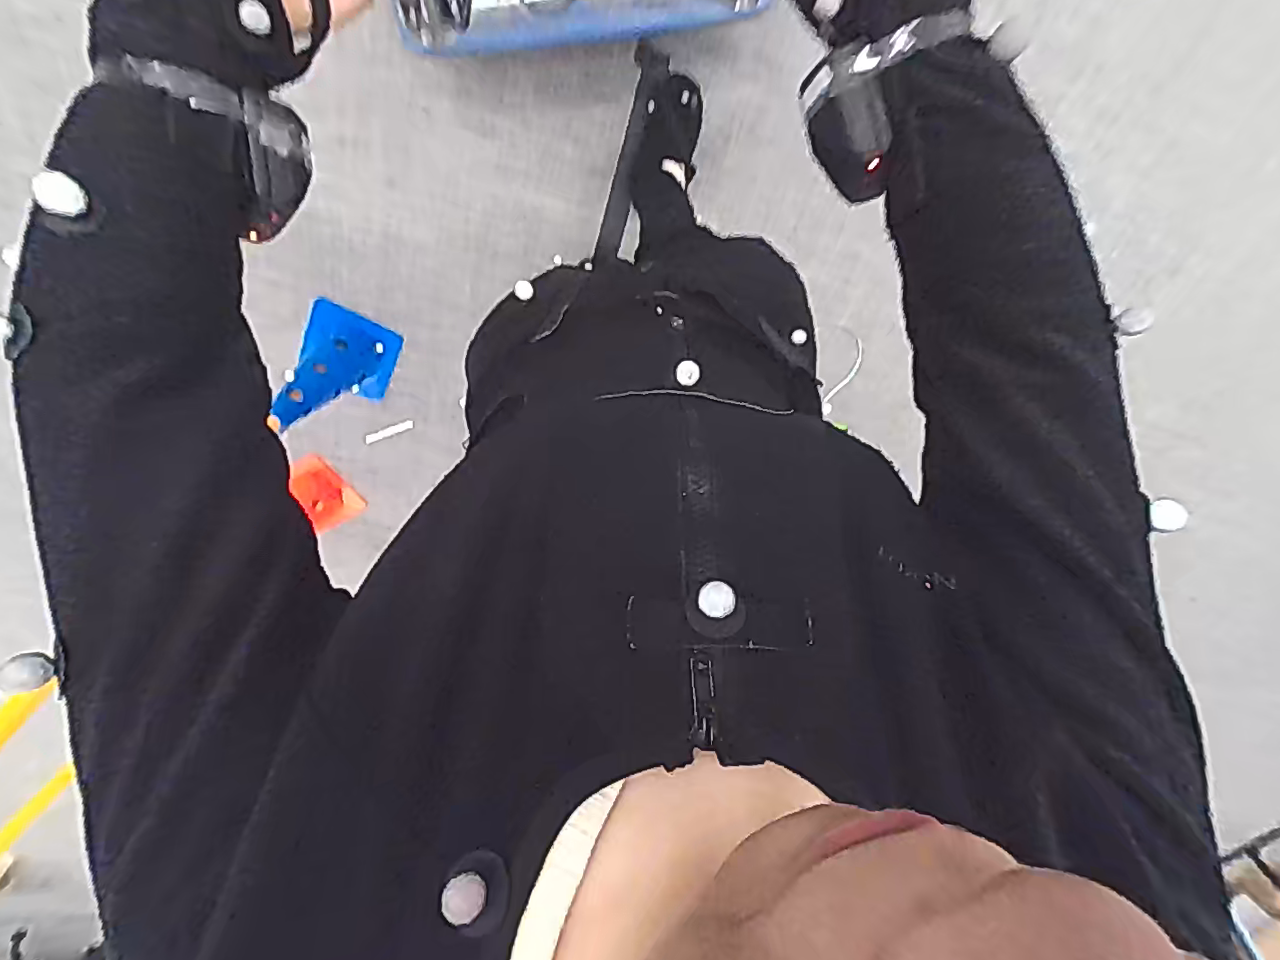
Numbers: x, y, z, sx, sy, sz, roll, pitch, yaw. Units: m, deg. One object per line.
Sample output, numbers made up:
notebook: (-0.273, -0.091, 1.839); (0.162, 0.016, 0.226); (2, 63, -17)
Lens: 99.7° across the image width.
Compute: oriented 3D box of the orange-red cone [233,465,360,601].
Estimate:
orange-red cone: (-0.878, 0.153, 1.319); (0.199, 0.360, 0.198); (-25, 122, 11)

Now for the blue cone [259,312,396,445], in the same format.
blue cone: (-0.674, -0.190, 1.124); (0.193, 0.380, 0.192); (27, 119, -19)
